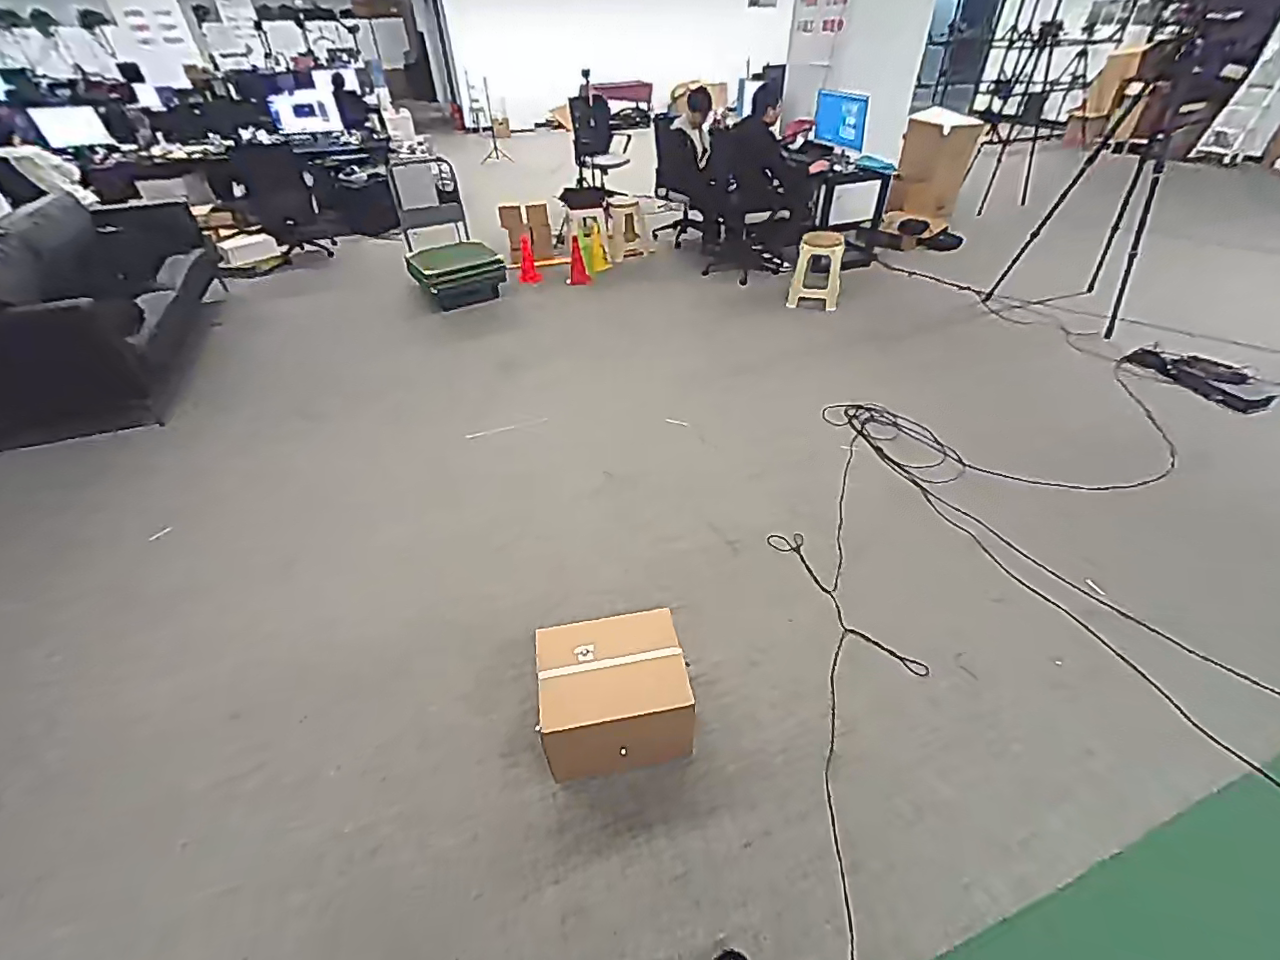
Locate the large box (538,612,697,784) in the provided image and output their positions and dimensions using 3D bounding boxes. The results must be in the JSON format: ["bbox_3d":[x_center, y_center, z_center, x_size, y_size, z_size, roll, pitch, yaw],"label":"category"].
[{"bbox_3d":[-0.067,0.636,1.584,0.408,0.320,0.320,-9,40,-6],"label":"large box"}]
